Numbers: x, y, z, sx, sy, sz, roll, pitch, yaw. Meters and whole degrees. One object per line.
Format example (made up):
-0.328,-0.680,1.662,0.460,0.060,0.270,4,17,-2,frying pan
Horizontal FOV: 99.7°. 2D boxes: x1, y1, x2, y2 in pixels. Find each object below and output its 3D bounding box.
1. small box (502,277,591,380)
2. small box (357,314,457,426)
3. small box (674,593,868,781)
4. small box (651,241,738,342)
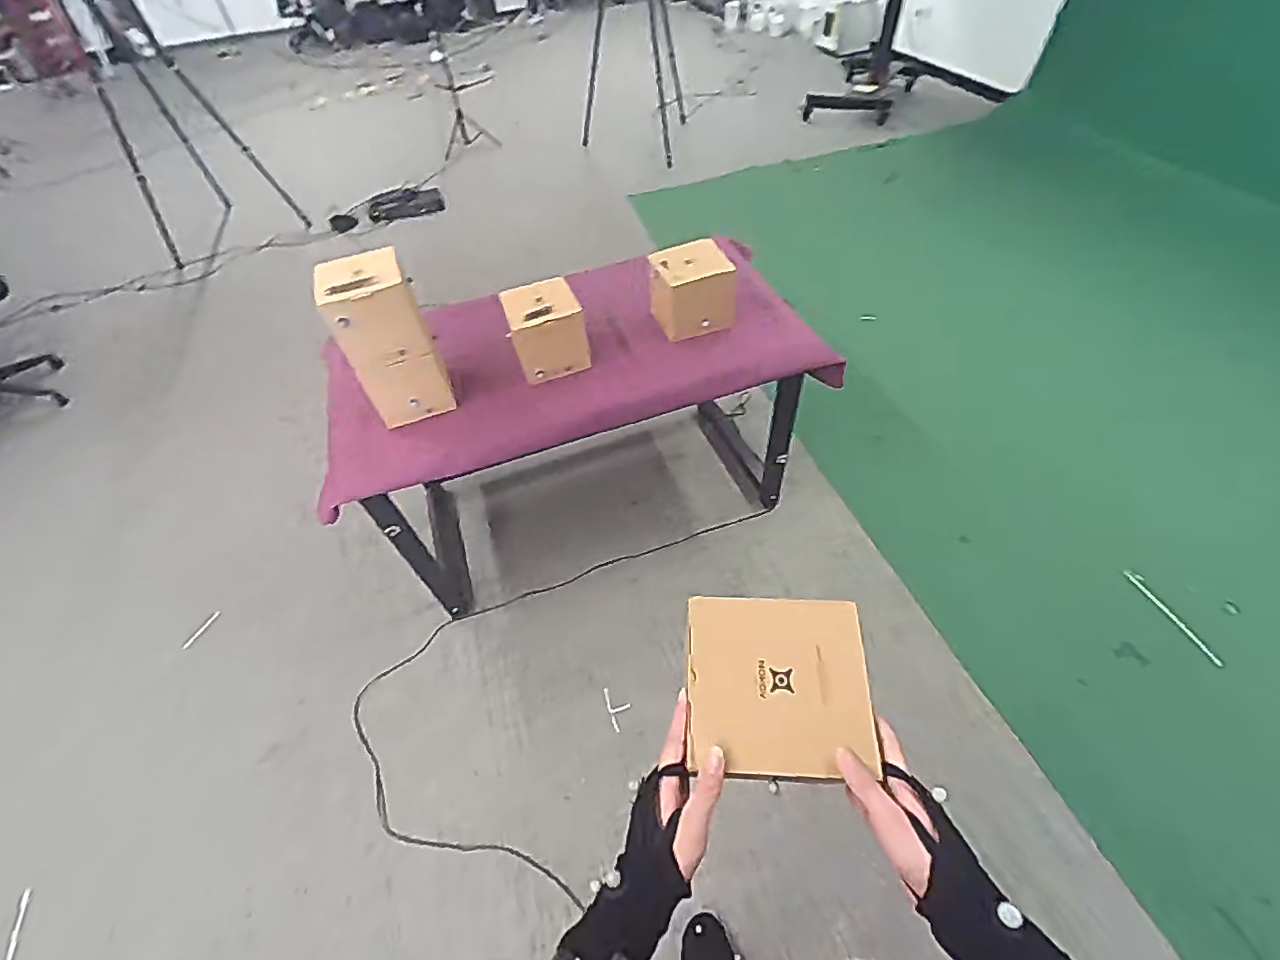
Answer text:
-0.230,-0.371,1.350,0.168,0.176,0.179,-19,52,-10,small box
-0.552,-0.260,1.289,0.168,0.176,0.179,-20,52,-10,small box
0.128,0.232,0.596,0.179,0.176,0.168,1,60,4,small box
0.138,-0.489,1.411,0.179,0.176,0.168,-17,52,-9,small box
